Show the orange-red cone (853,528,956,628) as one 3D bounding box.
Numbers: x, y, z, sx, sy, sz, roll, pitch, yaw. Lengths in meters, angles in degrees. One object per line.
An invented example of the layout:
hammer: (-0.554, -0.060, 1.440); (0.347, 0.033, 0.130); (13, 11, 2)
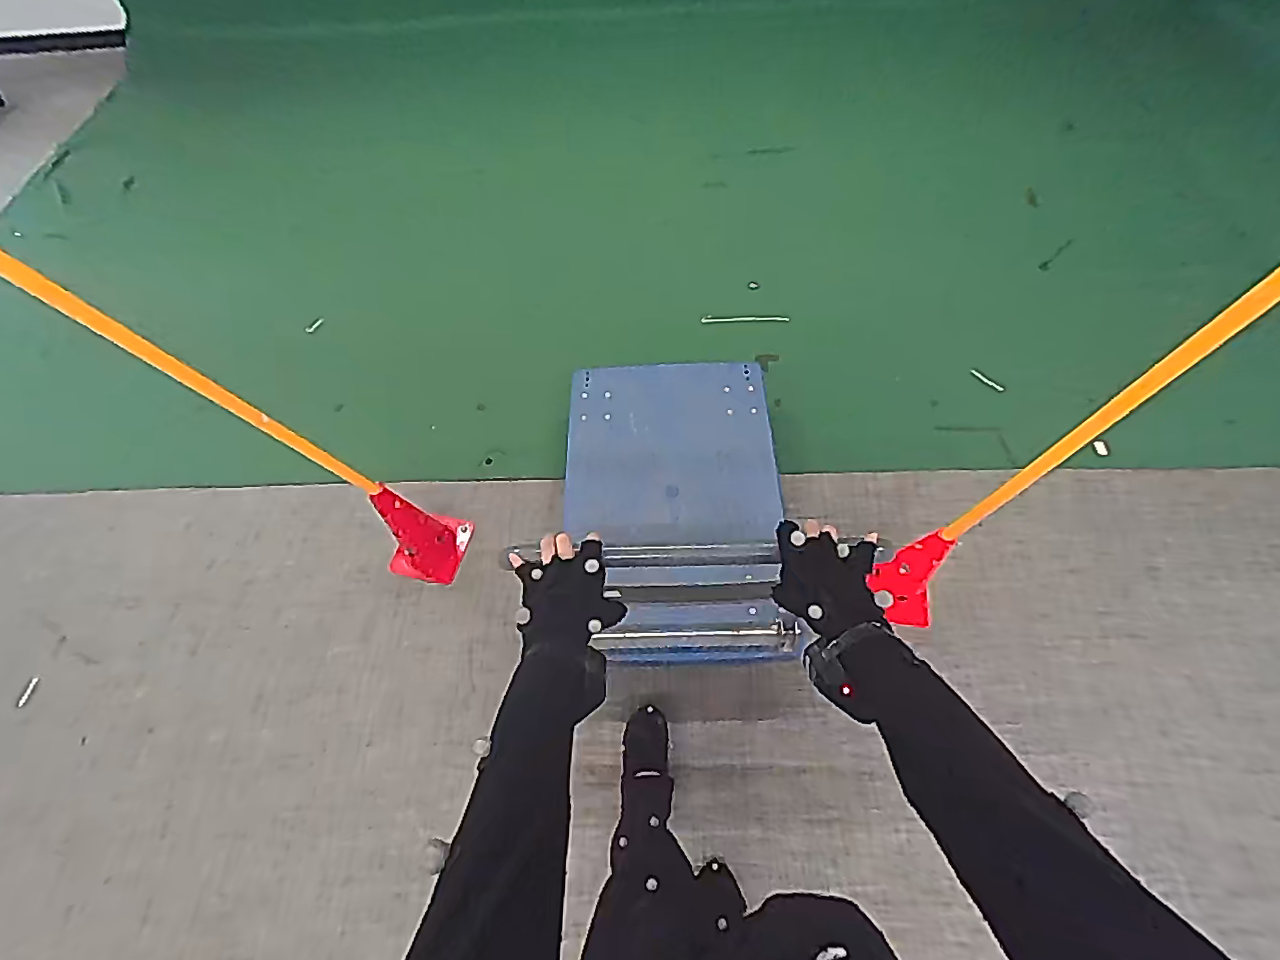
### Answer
orange-red cone: (0.669, 0.207, 1.308); (0.198, 0.360, 0.199); (8, 62, 8)
